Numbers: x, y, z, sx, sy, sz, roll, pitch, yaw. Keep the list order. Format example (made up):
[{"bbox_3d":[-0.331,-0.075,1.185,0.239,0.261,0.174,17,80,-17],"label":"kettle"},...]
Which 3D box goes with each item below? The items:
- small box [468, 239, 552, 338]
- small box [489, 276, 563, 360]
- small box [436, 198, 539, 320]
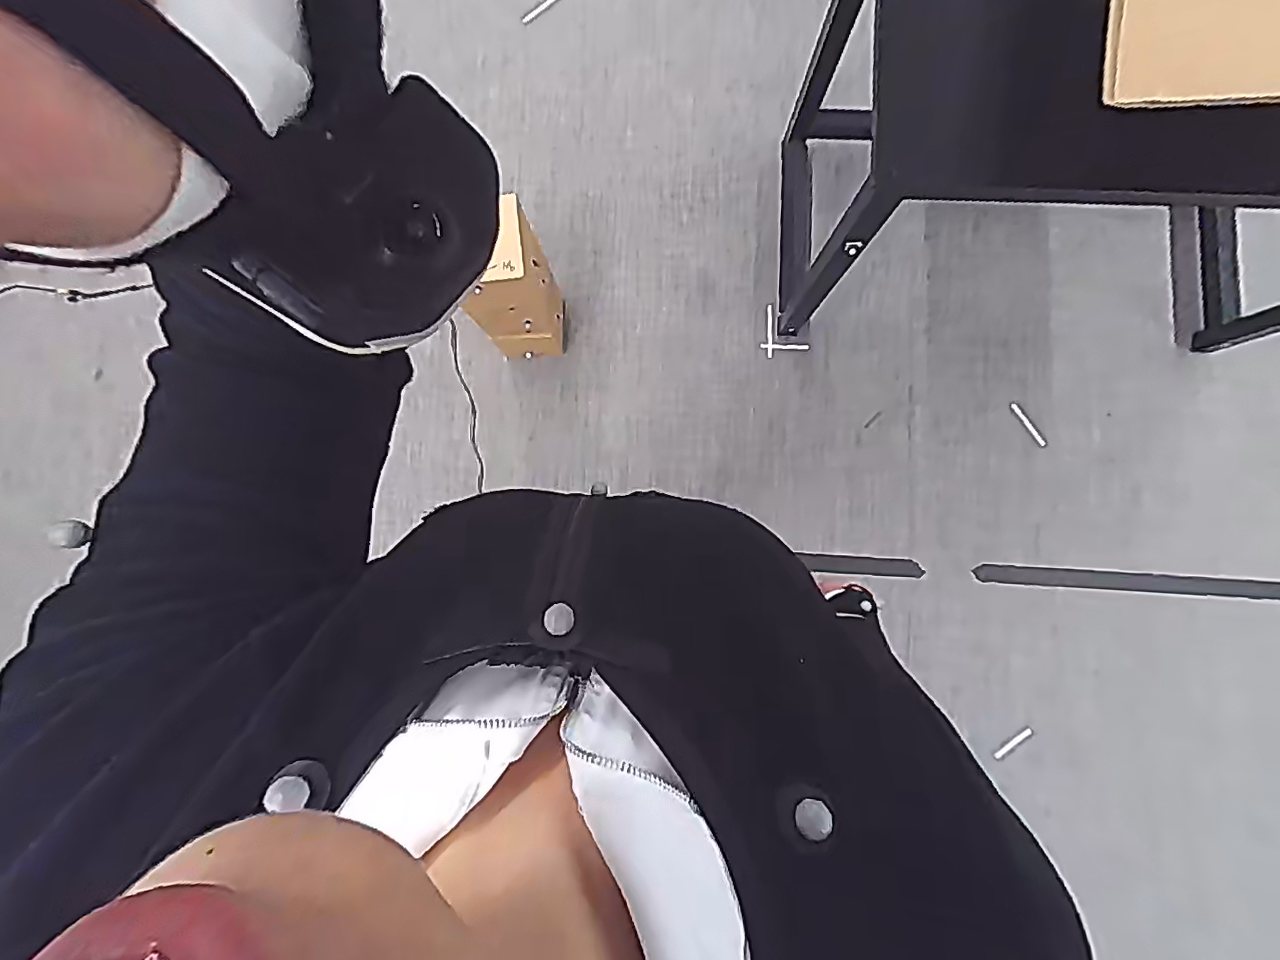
[{"bbox_3d":[-0.312,-0.454,1.311,0.168,0.176,0.179,-4,85,0],"label":"small box"},{"bbox_3d":[-0.306,-0.436,1.472,0.168,0.176,0.179,-1,87,2],"label":"small box"},{"bbox_3d":[-0.316,-0.462,1.147,0.168,0.176,0.179,-6,85,1],"label":"small box"}]
